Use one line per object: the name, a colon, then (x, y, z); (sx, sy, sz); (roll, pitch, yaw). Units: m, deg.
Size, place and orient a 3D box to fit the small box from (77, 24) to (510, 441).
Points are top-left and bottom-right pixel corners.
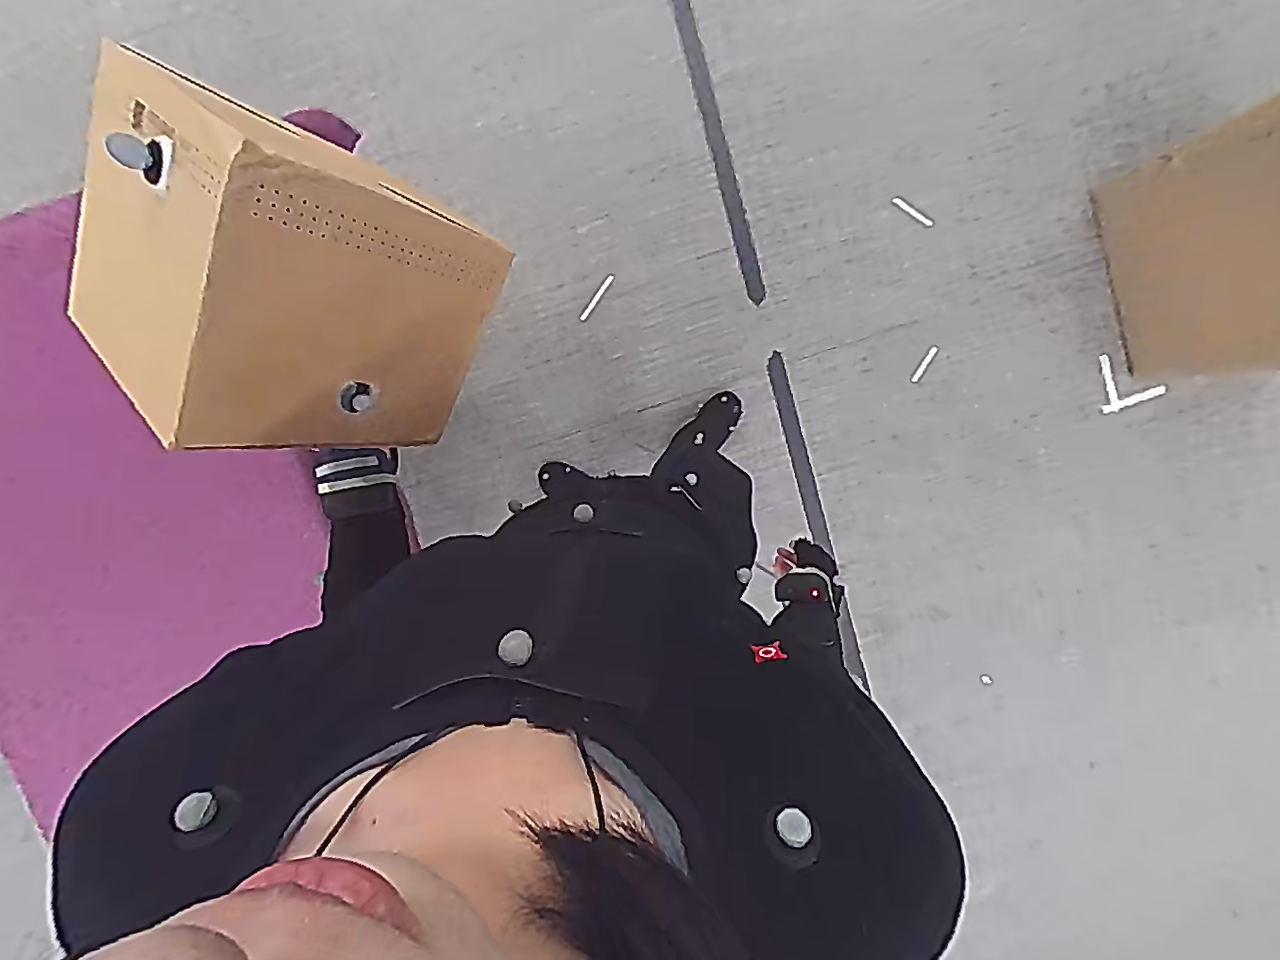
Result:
small box: (-0.219, -0.141, 0.359); (0.168, 0.179, 0.176); (38, 111, 24)
